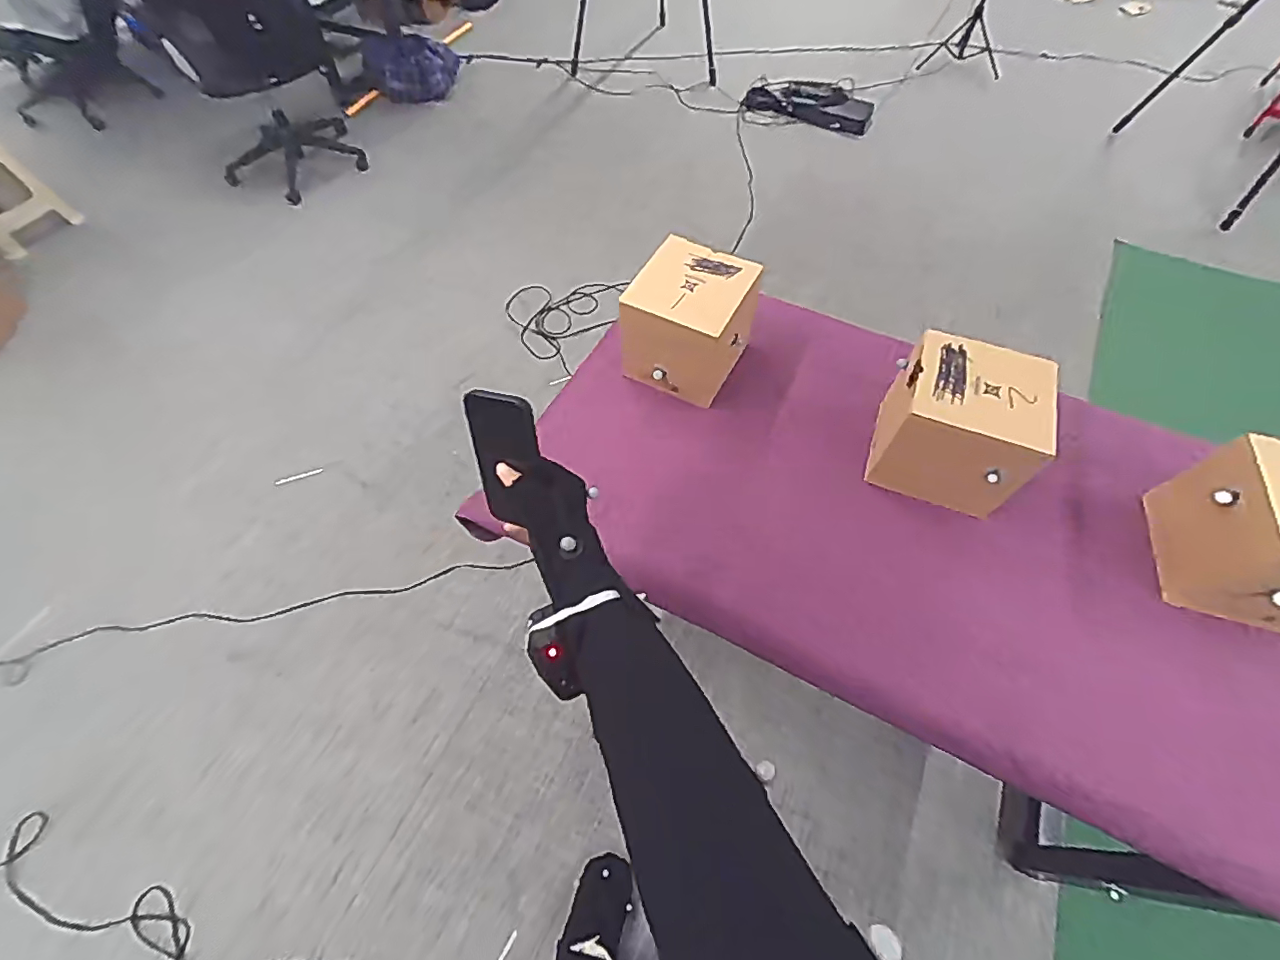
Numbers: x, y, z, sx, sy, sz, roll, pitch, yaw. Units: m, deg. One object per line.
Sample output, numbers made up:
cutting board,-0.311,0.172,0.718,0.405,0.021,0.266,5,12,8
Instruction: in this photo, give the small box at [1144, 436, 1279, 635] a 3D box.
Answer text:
small box,0.795,0.077,0.679,0.168,0.176,0.179,15,59,10

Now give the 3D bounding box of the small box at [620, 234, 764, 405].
small box,0.080,-0.257,0.880,0.168,0.176,0.179,25,64,15
